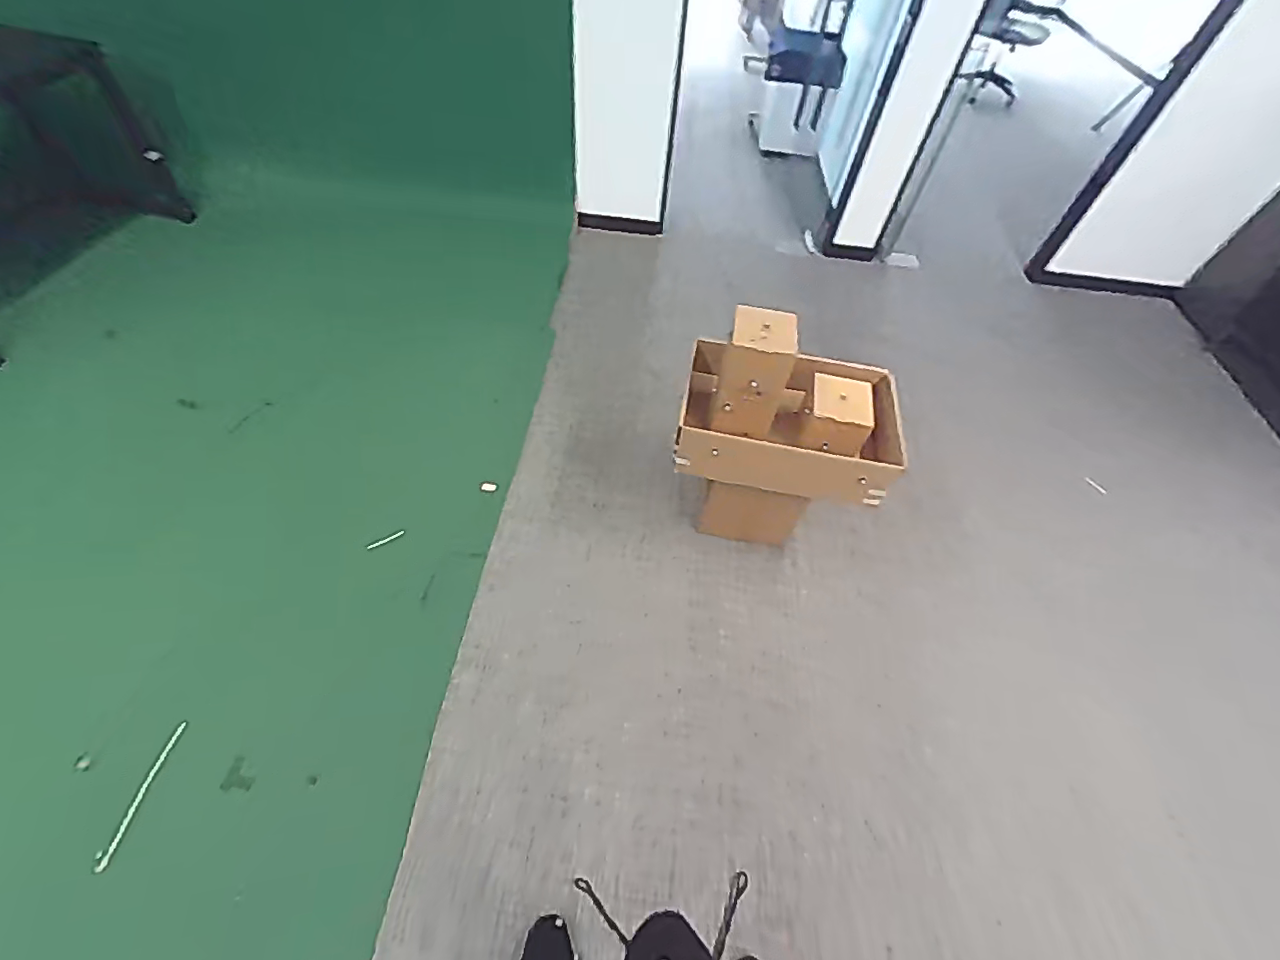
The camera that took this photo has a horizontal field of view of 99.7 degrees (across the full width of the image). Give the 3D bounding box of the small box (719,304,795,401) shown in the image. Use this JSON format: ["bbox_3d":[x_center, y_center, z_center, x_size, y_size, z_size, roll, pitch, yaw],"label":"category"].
[{"bbox_3d":[0.314,-0.343,1.463,0.168,0.176,0.179,10,53,3],"label":"small box"}]

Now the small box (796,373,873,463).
[{"bbox_3d":[0.559,-0.179,1.571,0.168,0.176,0.179,11,54,3],"label":"small box"}]
